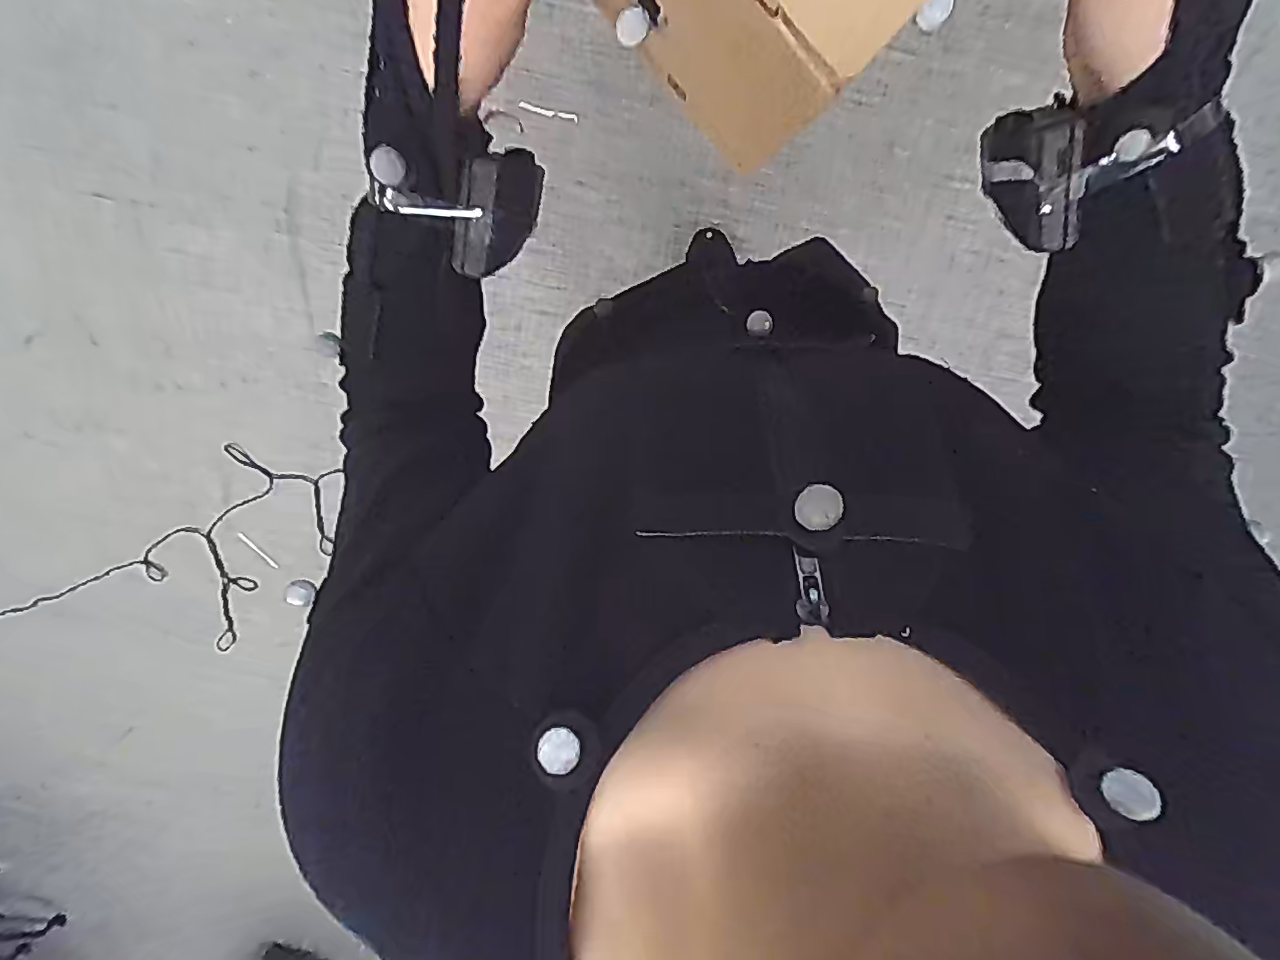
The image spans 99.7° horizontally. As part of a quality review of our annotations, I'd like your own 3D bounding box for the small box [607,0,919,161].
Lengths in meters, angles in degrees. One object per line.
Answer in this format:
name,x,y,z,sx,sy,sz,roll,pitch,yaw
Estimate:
small box,0.063,-0.263,0.210,0.168,0.176,0.179,42,107,-14
